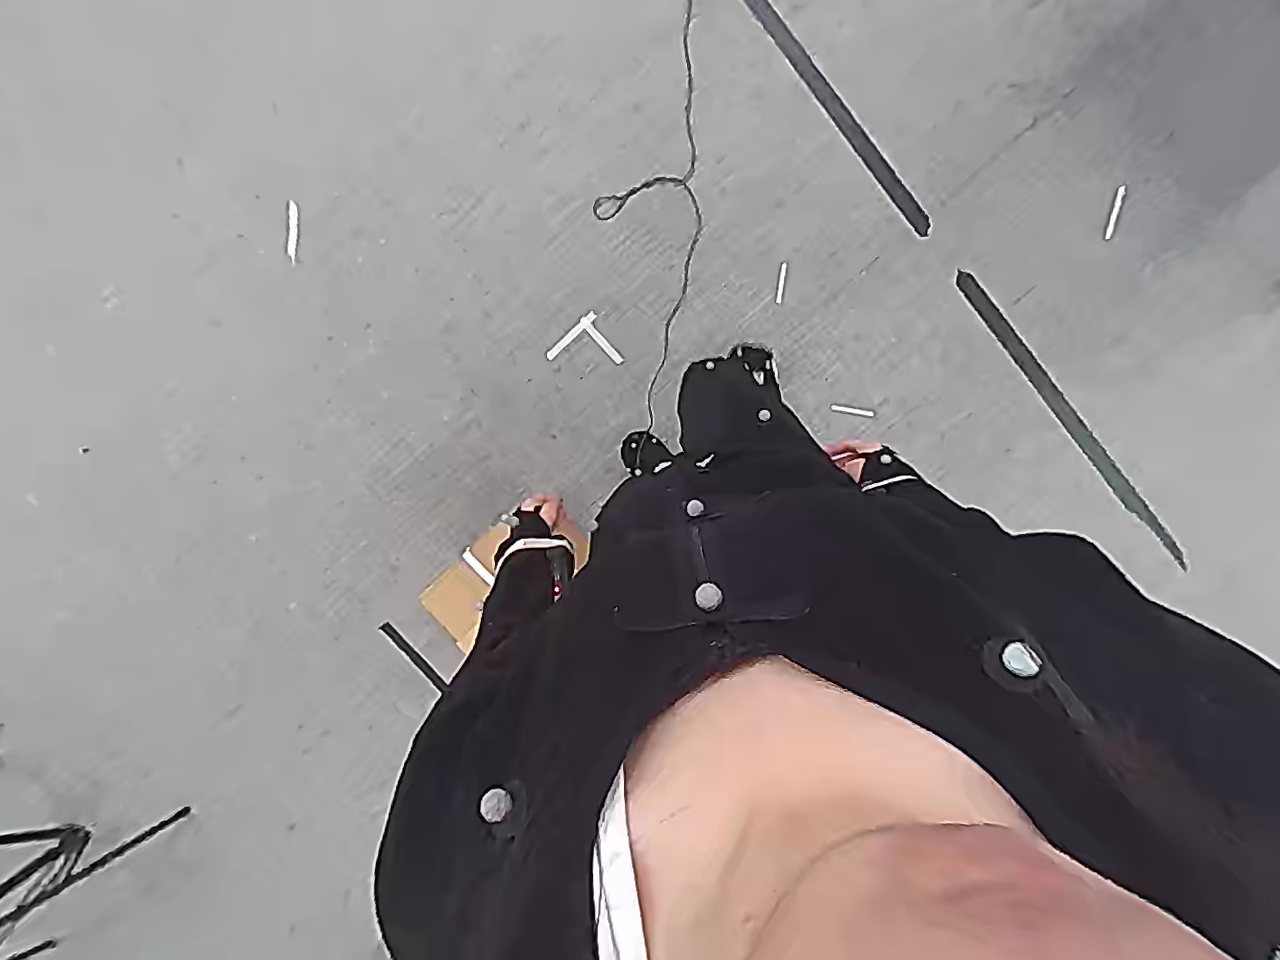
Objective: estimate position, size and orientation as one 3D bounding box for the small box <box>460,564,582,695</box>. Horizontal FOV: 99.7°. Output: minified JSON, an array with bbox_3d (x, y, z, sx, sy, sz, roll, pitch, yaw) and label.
[{"bbox_3d":[-0.237,0.304,1.134,0.179,0.176,0.168,-43,94,2],"label":"small box"}]
